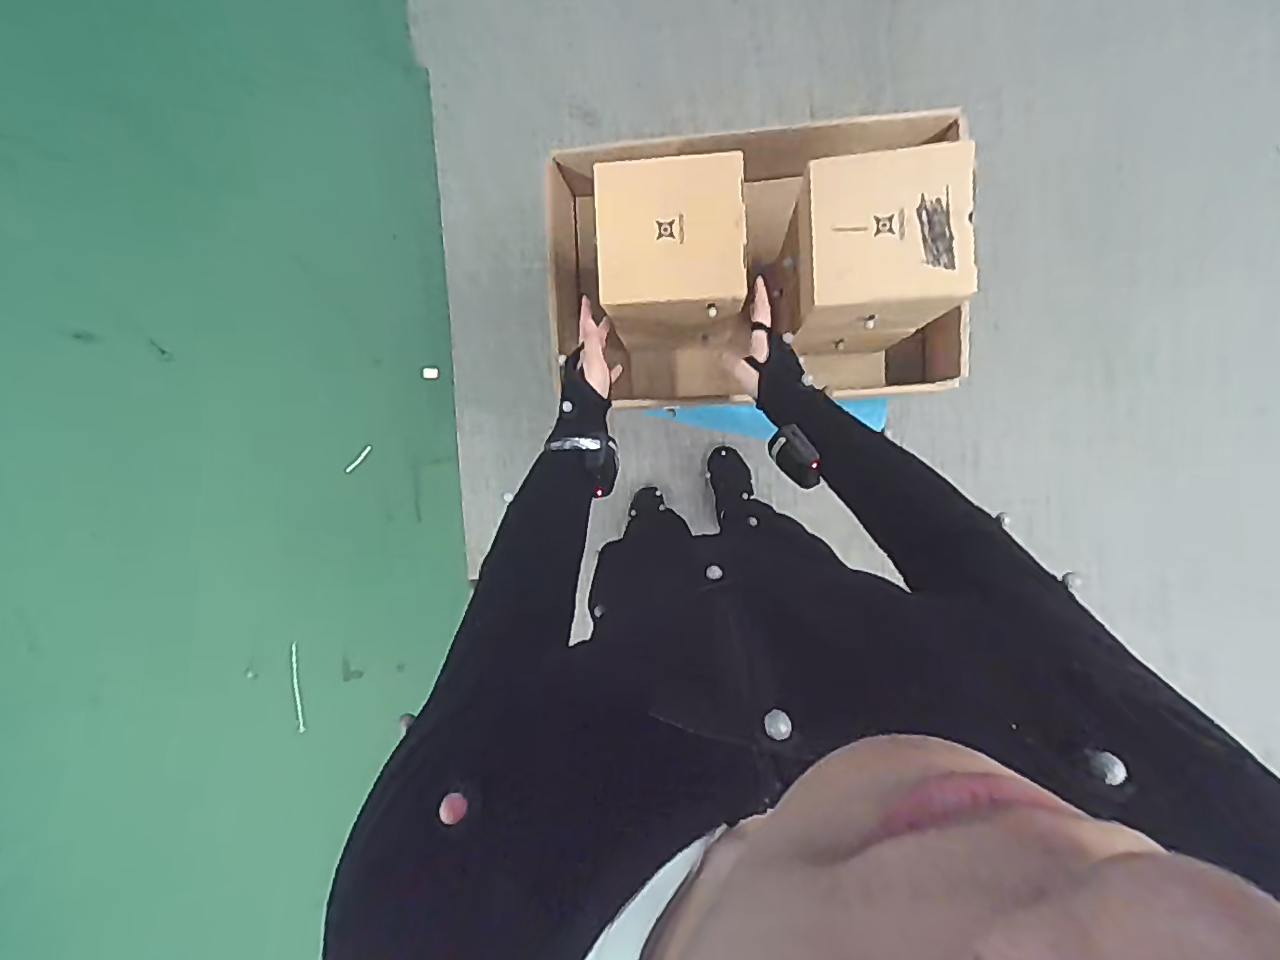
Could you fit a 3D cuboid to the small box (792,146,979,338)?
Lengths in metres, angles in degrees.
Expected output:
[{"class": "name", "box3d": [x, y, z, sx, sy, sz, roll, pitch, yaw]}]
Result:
[{"class": "small box", "box3d": [0.289, -0.278, 0.670, 0.179, 0.176, 0.168, -1, 92, 9]}]
